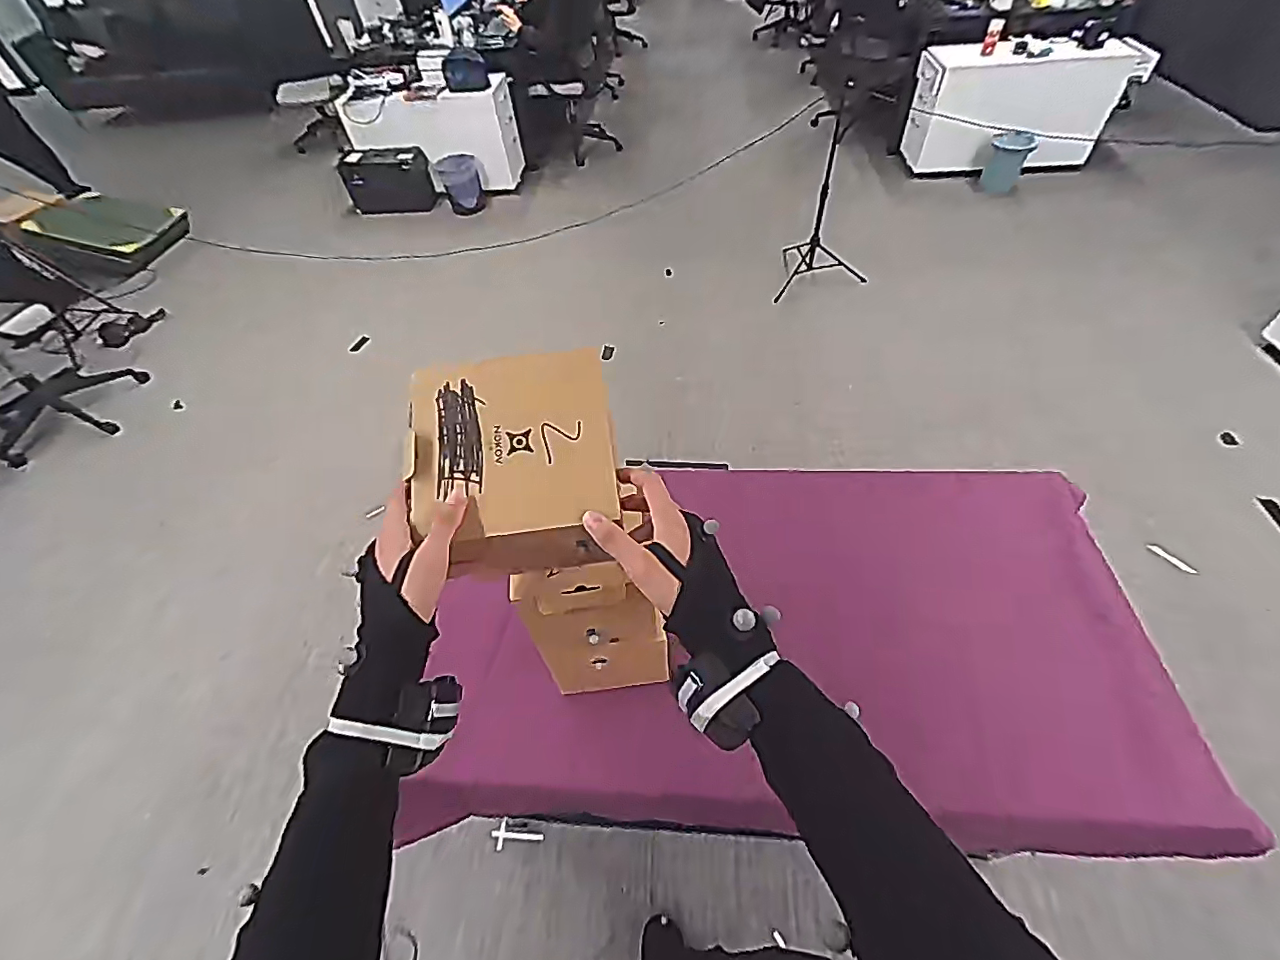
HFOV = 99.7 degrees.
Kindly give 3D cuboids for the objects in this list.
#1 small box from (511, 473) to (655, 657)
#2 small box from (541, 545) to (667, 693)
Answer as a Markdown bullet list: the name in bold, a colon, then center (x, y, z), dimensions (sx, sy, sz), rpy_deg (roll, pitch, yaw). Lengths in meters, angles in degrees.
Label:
- **small box**: center (-0.072, 0.116, 0.734), dimensions (0.168, 0.176, 0.179), rpy_deg (-8, 51, -1)
- **small box**: center (-0.054, 0.224, 0.857), dimensions (0.179, 0.176, 0.168), rpy_deg (-6, 51, -2)
